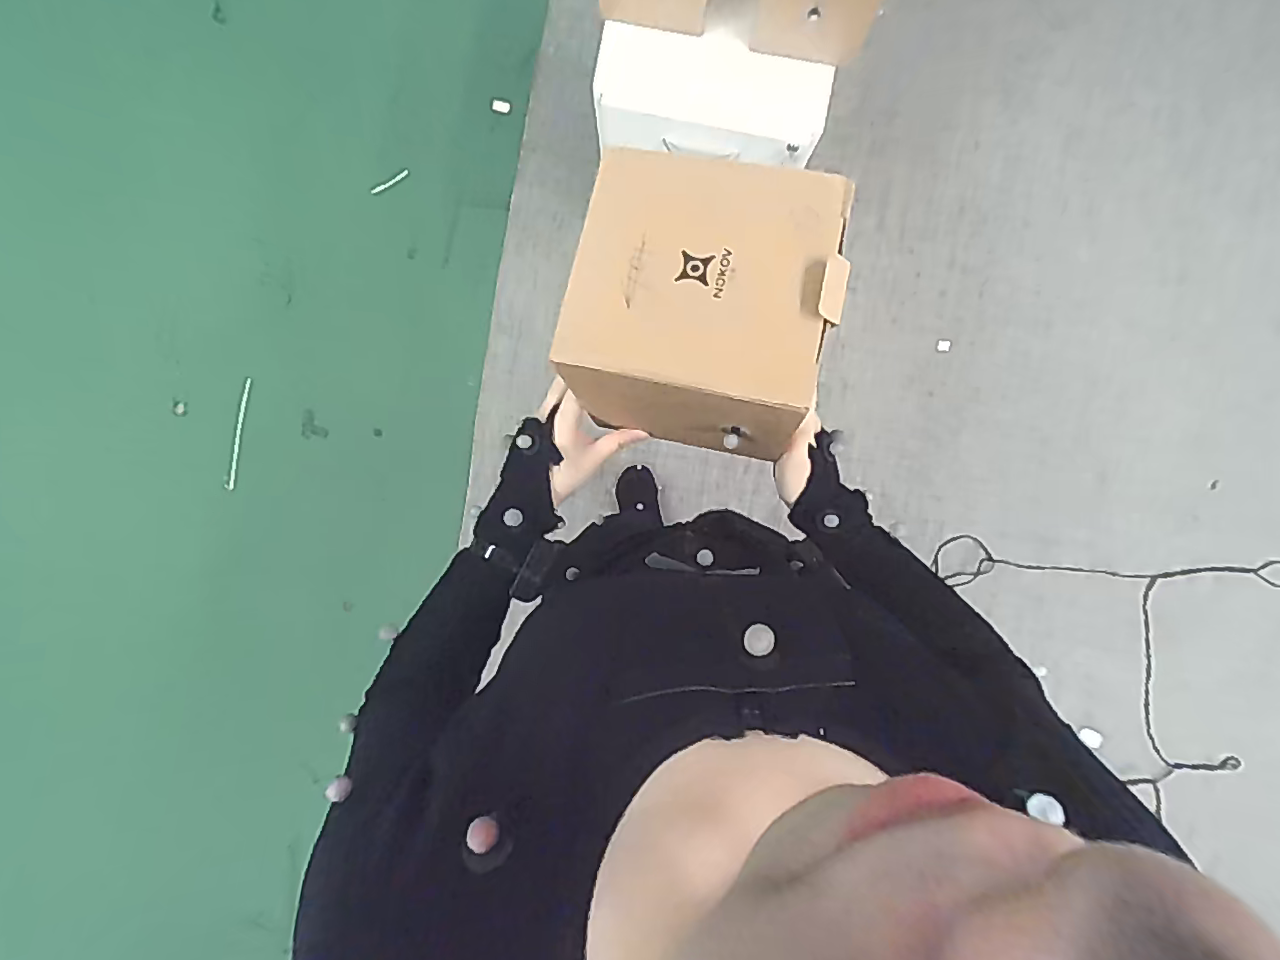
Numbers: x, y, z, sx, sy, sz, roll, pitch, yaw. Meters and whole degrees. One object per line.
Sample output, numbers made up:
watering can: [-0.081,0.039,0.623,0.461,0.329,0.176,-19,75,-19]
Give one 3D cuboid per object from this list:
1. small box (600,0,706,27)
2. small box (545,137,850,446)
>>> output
small box: [0.029,-0.839,0.817,0.179,0.176,0.168,10,91,-1]
small box: [0.046,-0.133,0.439,0.179,0.176,0.168,12,82,9]
